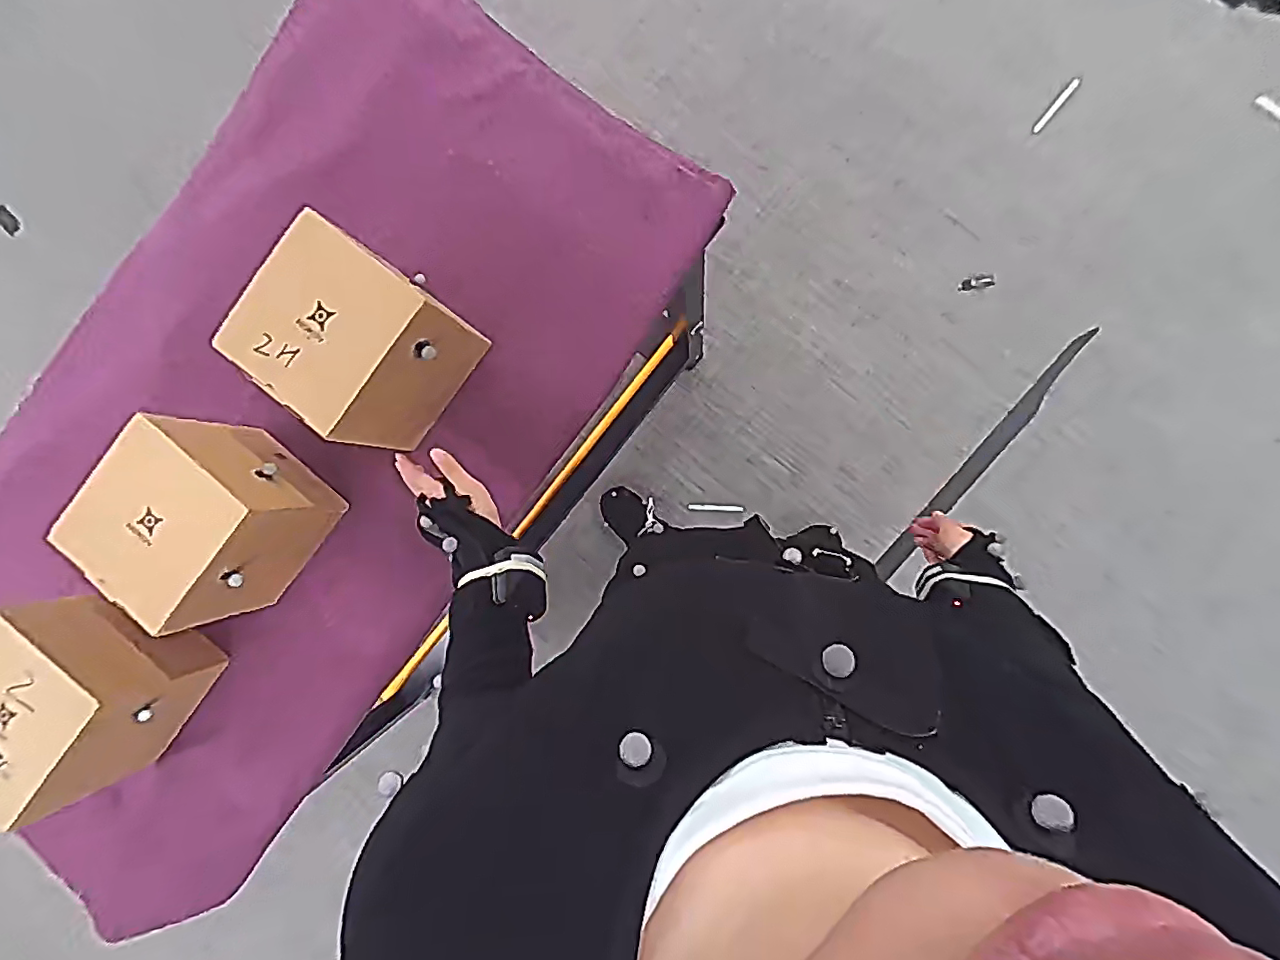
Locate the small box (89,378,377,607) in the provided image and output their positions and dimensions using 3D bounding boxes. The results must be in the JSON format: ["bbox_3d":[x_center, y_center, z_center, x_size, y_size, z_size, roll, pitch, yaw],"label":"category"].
[{"bbox_3d":[-0.442,0.010,0.624,0.168,0.176,0.179,43,95,3],"label":"small box"}]
